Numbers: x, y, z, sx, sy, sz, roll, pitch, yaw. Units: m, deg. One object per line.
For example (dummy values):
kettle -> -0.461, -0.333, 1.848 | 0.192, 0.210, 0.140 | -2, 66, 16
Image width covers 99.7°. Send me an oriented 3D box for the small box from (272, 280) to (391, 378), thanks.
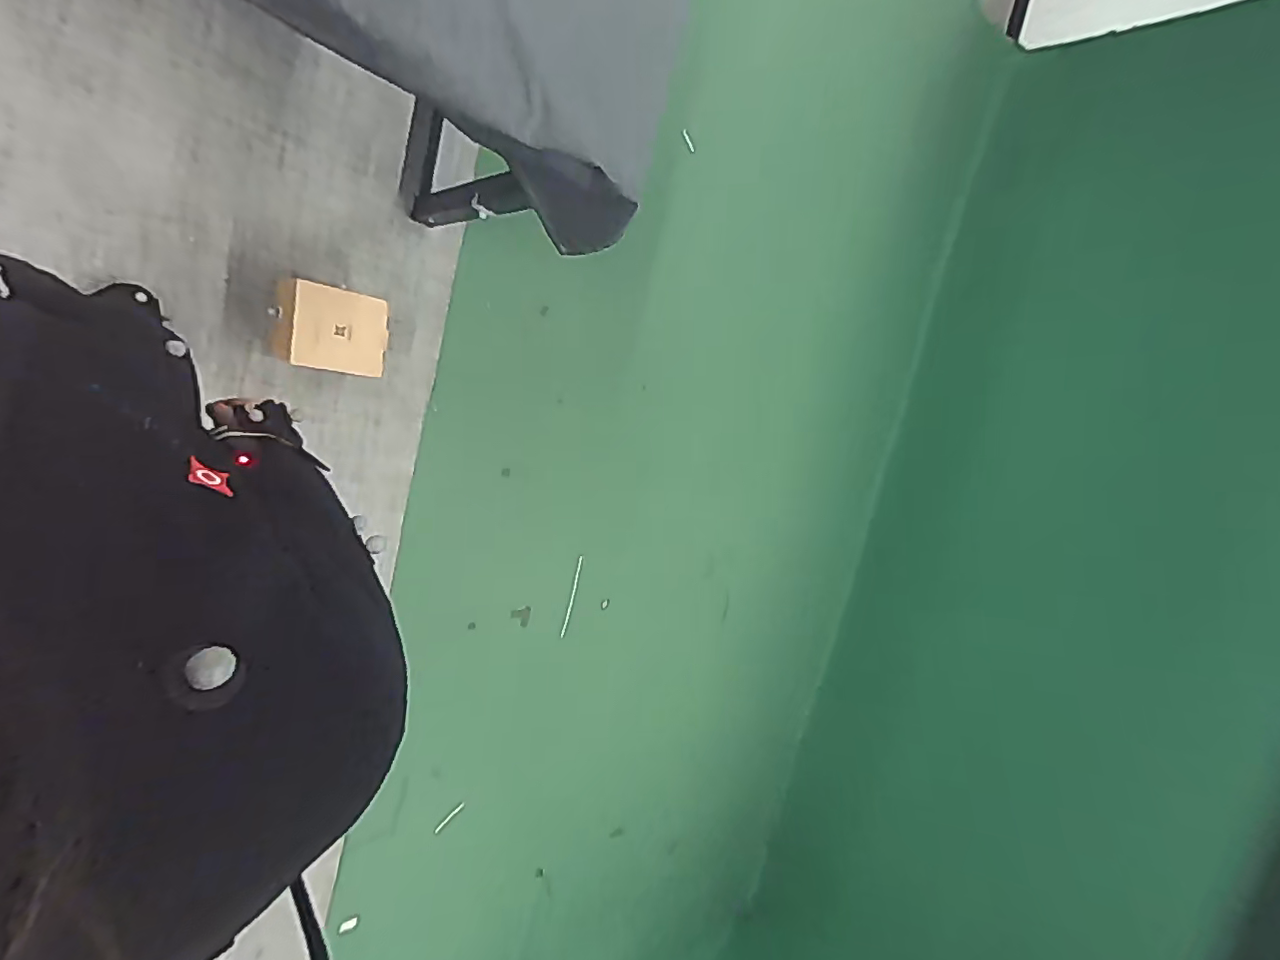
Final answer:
small box -> -0.658, -0.320, 1.150 | 0.179, 0.176, 0.168 | 1, 102, -45
